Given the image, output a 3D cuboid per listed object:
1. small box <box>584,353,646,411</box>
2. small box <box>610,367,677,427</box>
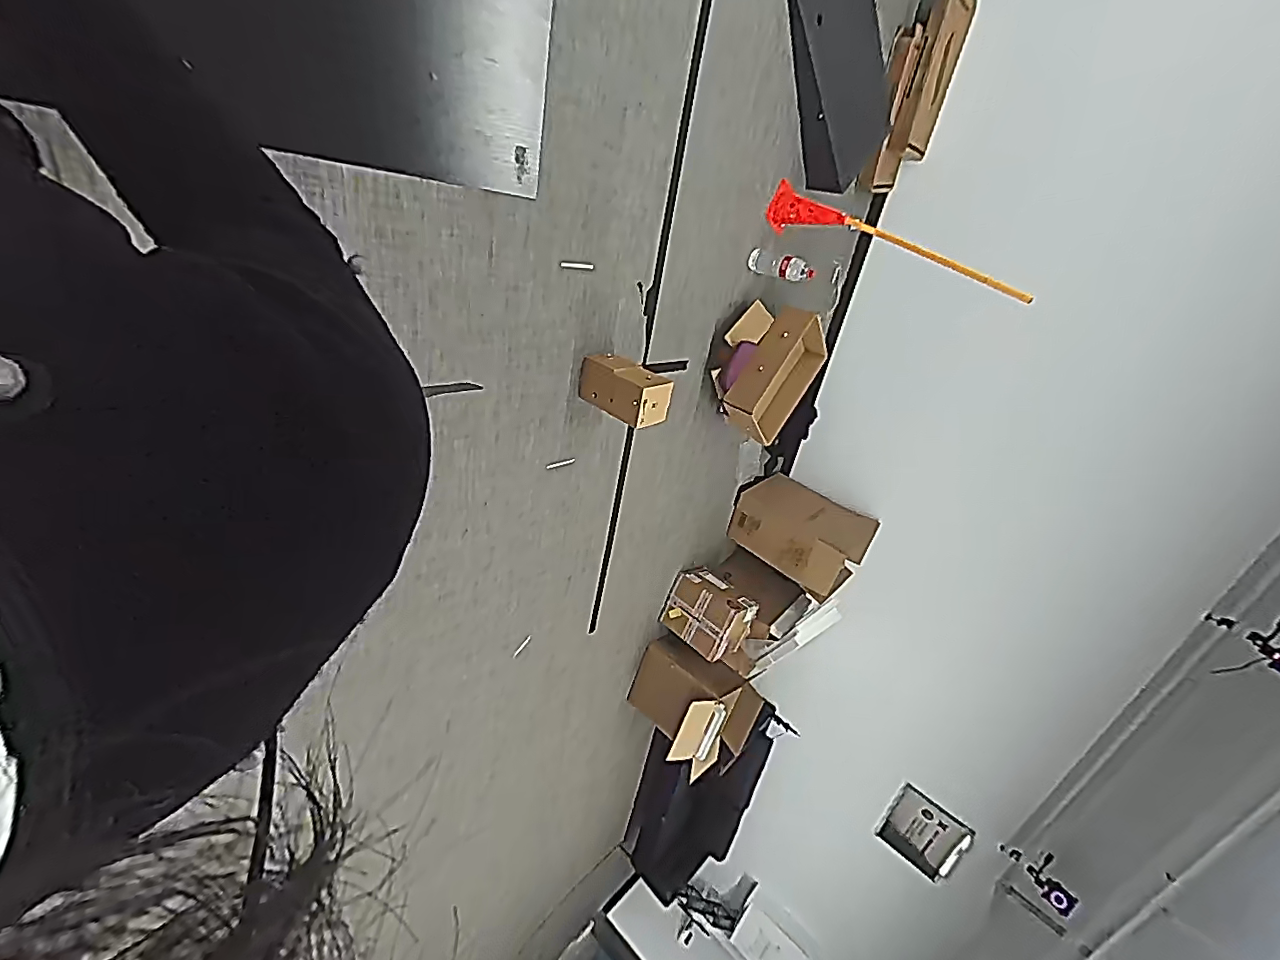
[{"bbox_3d":[-0.104,-0.396,2.158,0.168,0.176,0.179,-20,130,-45],"label":"small box"},{"bbox_3d":[0.013,-0.323,2.069,0.179,0.176,0.168,-22,133,-44],"label":"small box"}]
